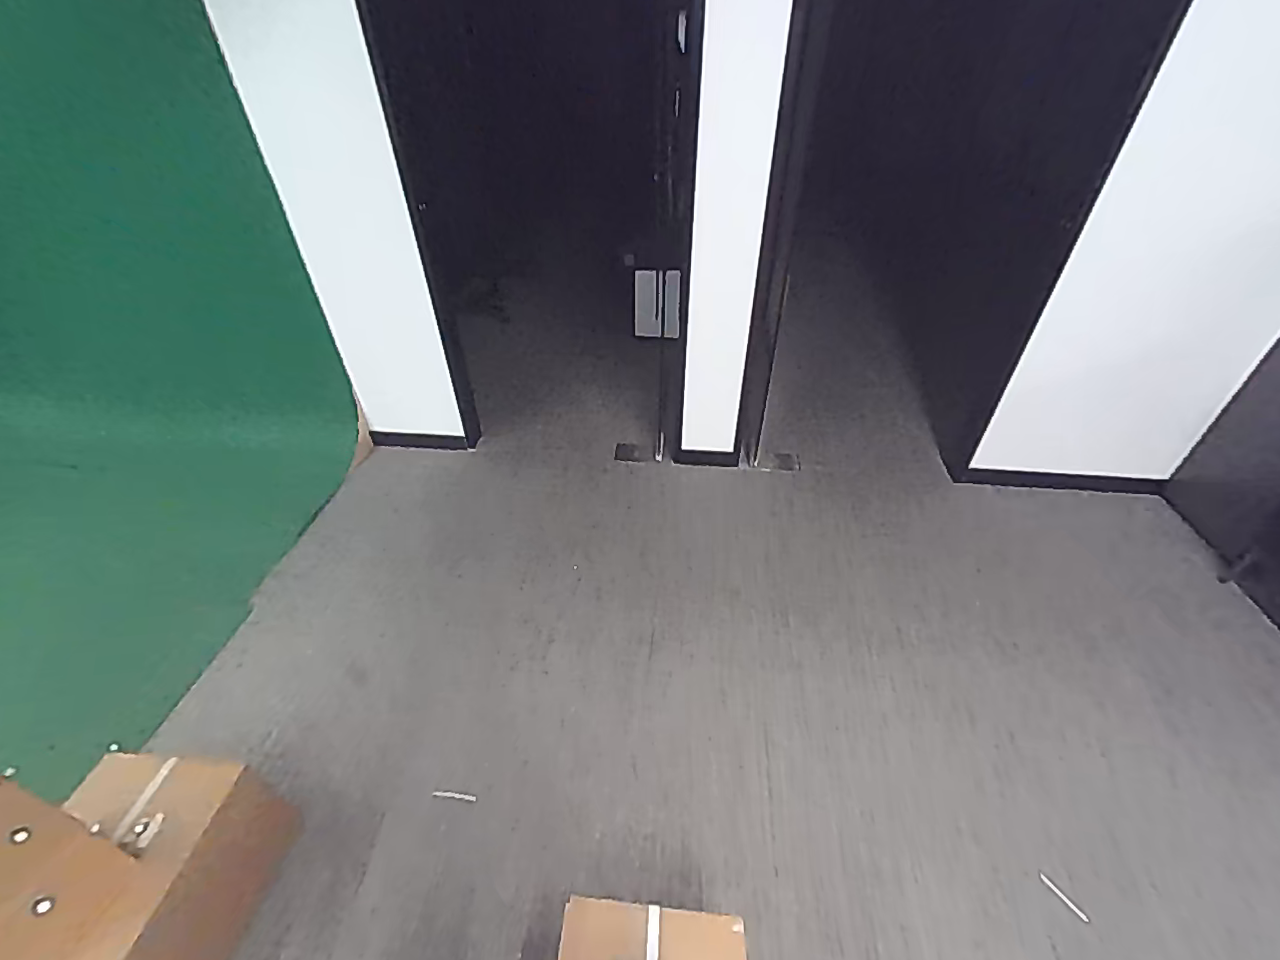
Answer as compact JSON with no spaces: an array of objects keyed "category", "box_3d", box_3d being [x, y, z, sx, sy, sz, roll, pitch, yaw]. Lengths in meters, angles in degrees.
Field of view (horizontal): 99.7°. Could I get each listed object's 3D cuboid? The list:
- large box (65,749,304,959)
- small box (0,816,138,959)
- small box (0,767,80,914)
[{"category":"large box","box_3d":[-0.981,0.821,1.083,0.320,0.320,0.408,3,39,4]},{"category":"small box","box_3d":[-0.993,0.666,0.890,0.168,0.176,0.179,10,41,13]},{"category":"small box","box_3d":[-0.999,0.534,0.794,0.168,0.176,0.179,11,42,16]}]
